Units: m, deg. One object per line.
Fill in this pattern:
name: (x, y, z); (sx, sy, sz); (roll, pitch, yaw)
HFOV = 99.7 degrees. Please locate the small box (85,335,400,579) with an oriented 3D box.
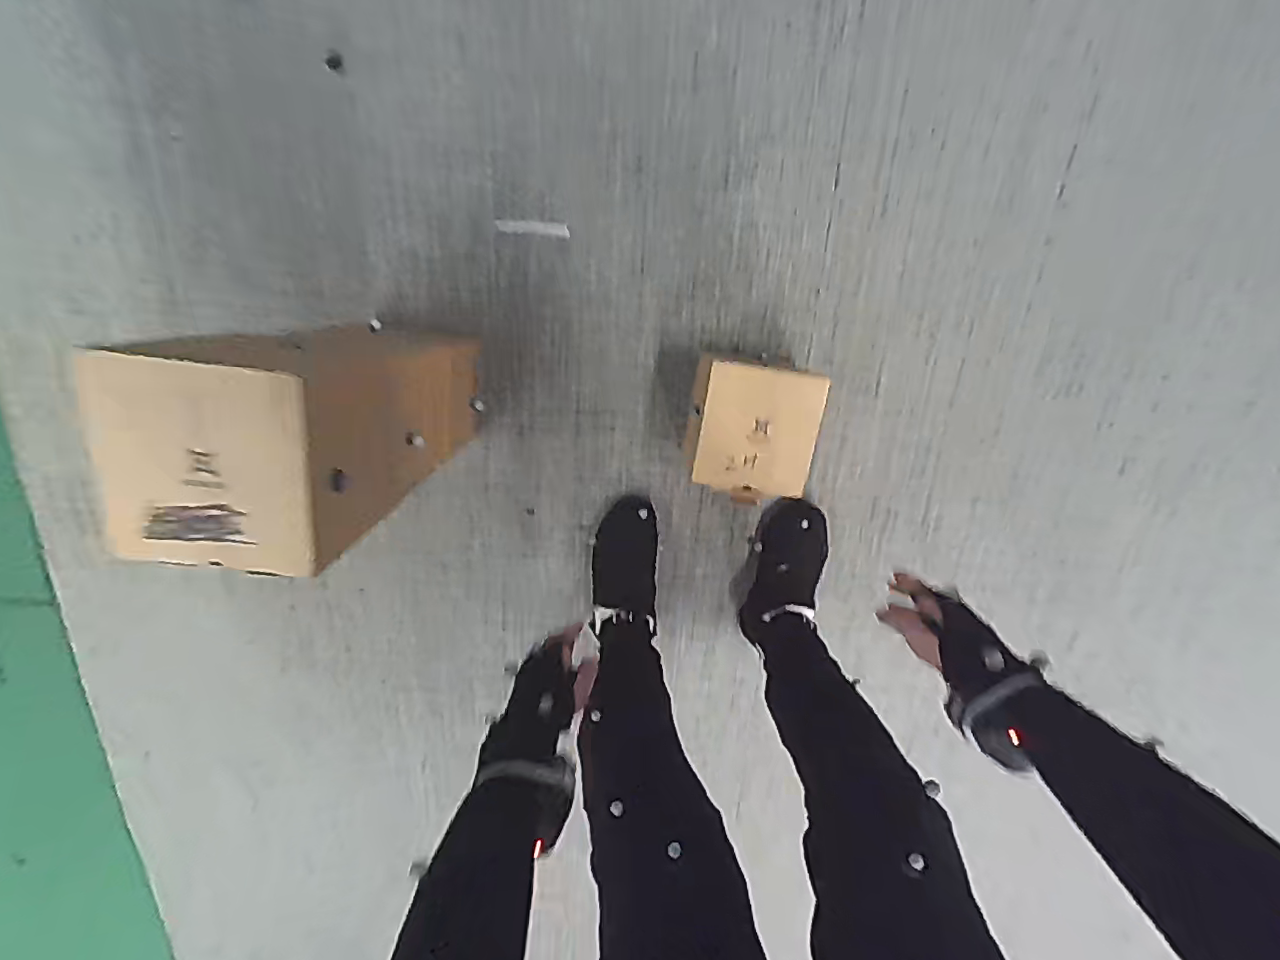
small box: (-0.338, -0.032, 0.503); (0.168, 0.176, 0.179); (7, 108, -3)

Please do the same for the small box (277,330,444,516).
small box: (-0.350, -0.077, 0.662); (0.168, 0.176, 0.179); (8, 110, -3)

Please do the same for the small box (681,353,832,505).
small box: (0.164, -0.088, 0.831); (0.168, 0.176, 0.179); (15, 109, -3)

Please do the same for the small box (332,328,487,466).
small box: (-0.345, -0.133, 0.815); (0.179, 0.176, 0.168); (8, 109, -3)
